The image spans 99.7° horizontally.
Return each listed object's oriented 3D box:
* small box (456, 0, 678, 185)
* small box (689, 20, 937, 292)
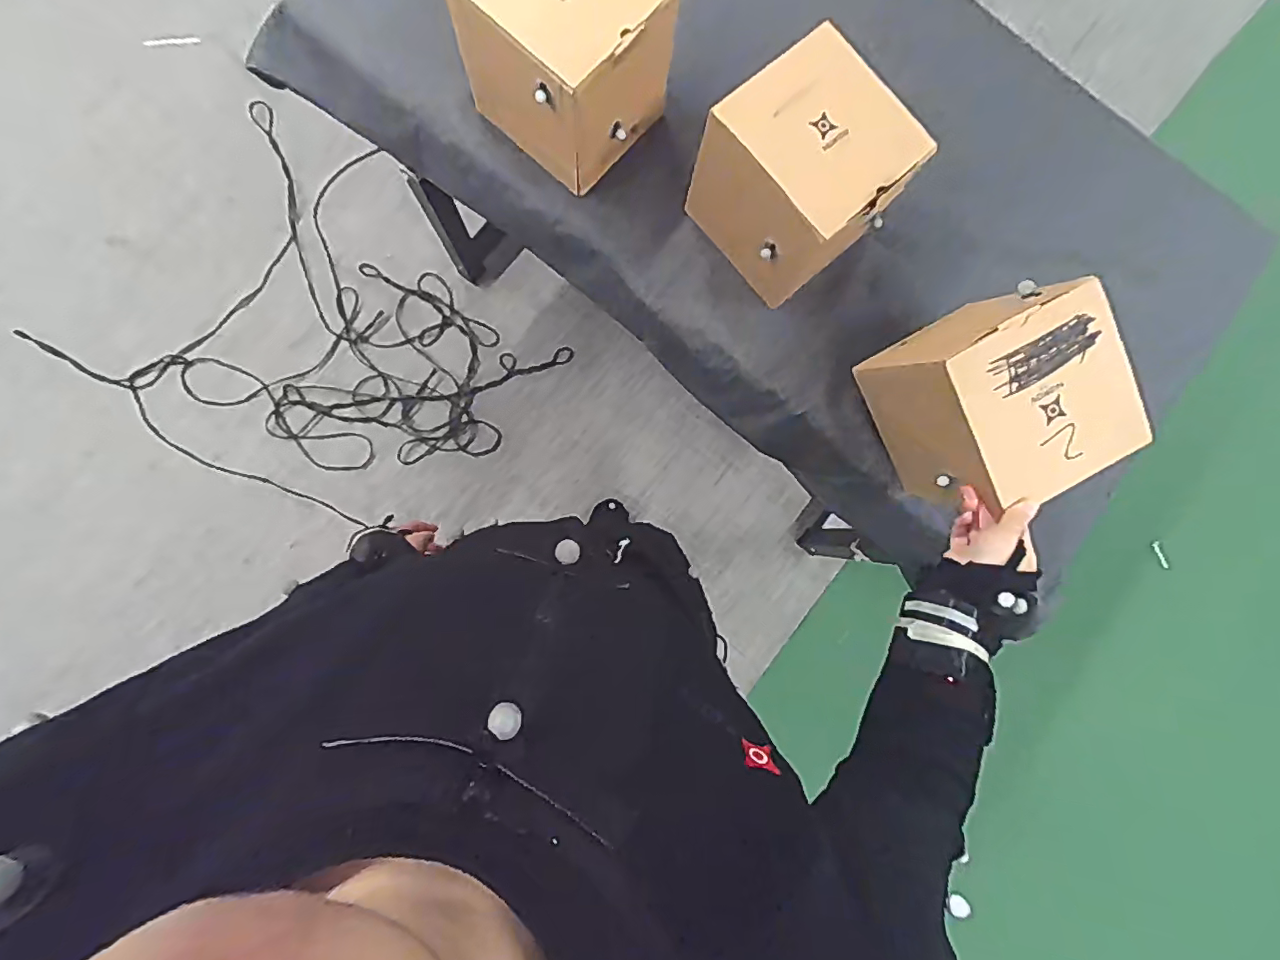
[{"bbox_3d":[-0.082,-0.483,0.609,0.179,0.176,0.168,40,82,0],"label":"small box"},{"bbox_3d":[0.179,-0.342,0.615,0.168,0.176,0.179,-41,88,-8],"label":"small box"}]
